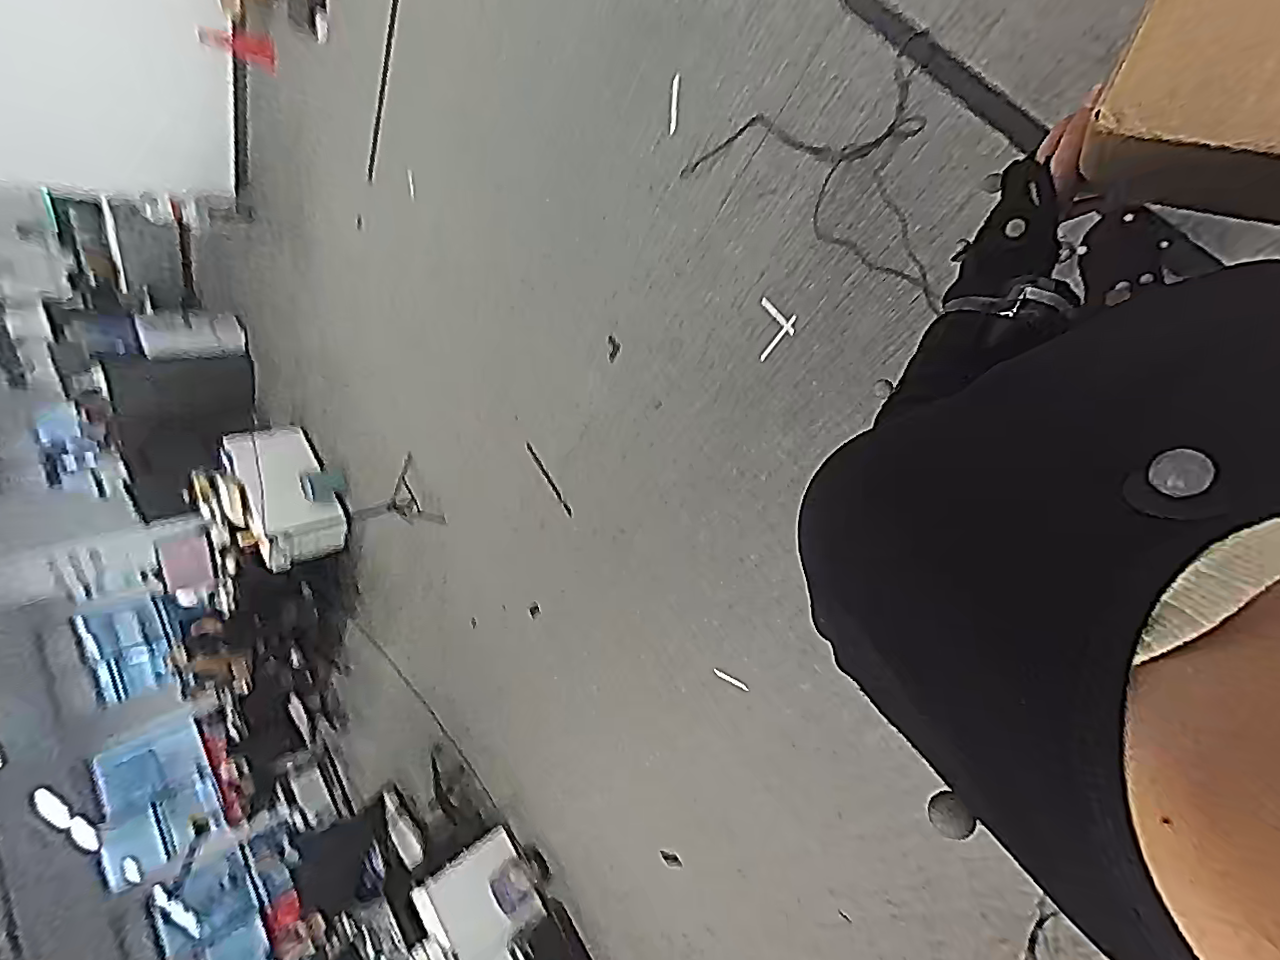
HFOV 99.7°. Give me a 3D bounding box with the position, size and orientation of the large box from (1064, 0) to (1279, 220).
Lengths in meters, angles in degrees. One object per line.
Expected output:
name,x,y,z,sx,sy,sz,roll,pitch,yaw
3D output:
large box,0.464,-0.262,0.199,0.408,0.320,0.320,26,123,26
